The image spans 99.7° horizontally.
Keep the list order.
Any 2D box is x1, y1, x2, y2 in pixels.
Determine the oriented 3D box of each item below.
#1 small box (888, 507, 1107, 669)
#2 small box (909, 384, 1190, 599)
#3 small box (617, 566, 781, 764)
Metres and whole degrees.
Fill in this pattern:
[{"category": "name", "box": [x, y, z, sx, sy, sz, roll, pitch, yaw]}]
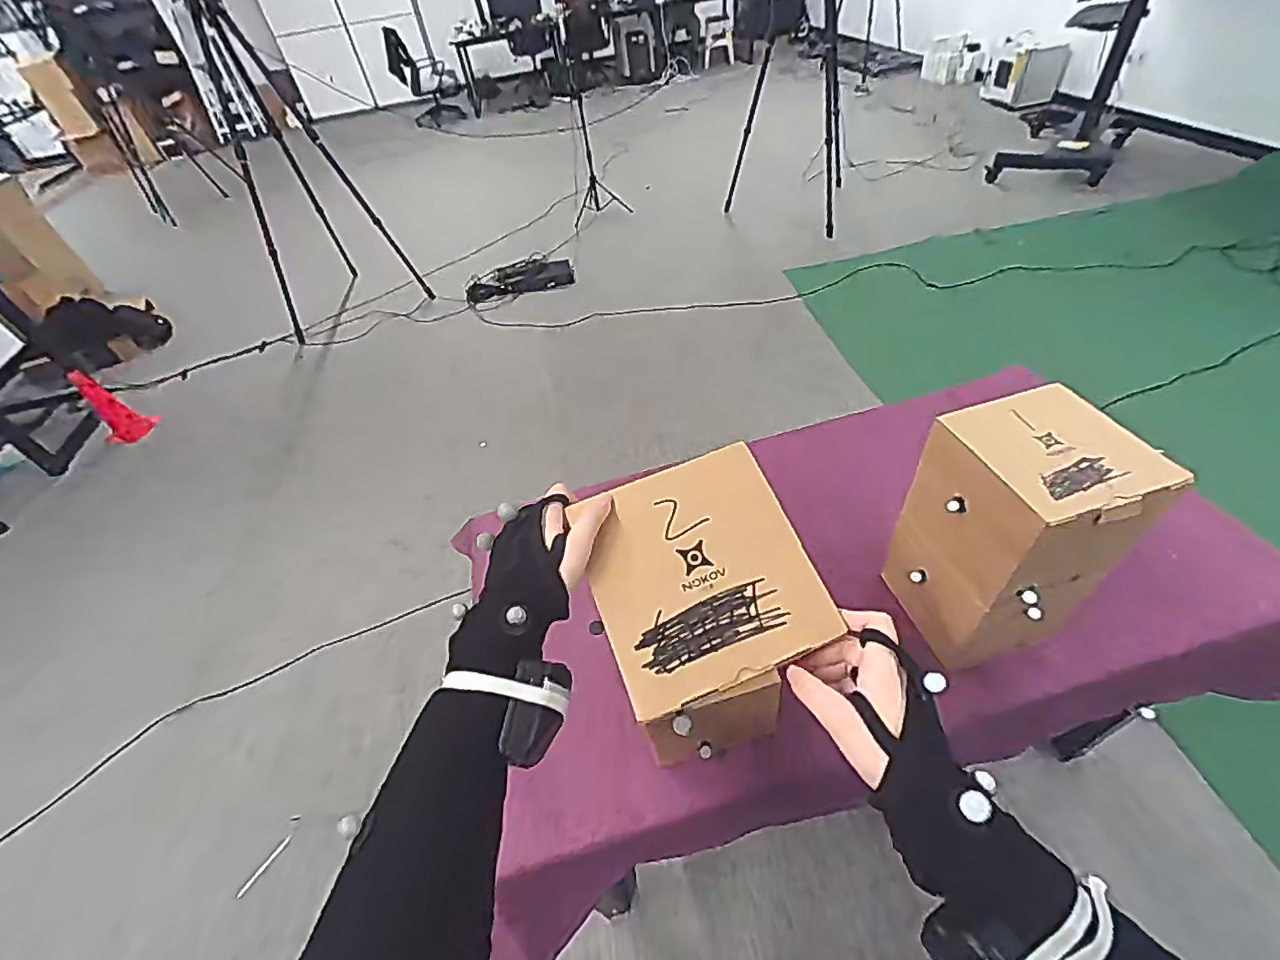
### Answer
[{"category": "small box", "box": [0.477, 0.133, 0.760, 0.168, 0.176, 0.179, -16, 45, -3]}, {"category": "small box", "box": [0.456, 0.020, 0.641, 0.168, 0.176, 0.179, -16, 46, -5]}, {"category": "small box", "box": [0.075, 0.249, 0.726, 0.168, 0.176, 0.179, -15, 47, -3]}]
